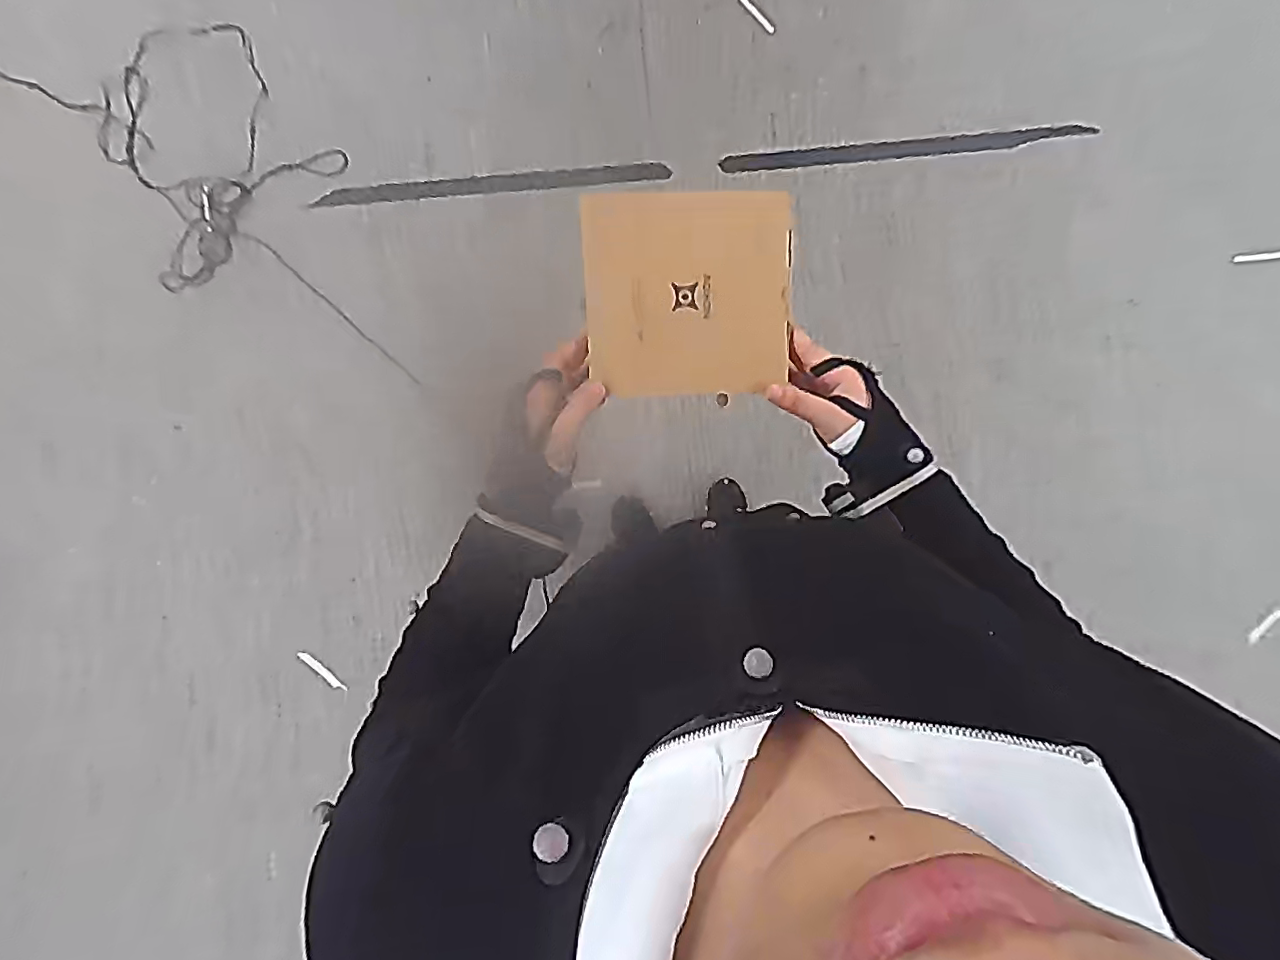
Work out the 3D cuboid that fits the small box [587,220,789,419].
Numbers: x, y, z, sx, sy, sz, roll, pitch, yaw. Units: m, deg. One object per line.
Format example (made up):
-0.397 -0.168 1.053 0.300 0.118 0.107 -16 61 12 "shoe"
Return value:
0.040 -0.154 0.550 0.179 0.176 0.168 -3 101 -2 "small box"
